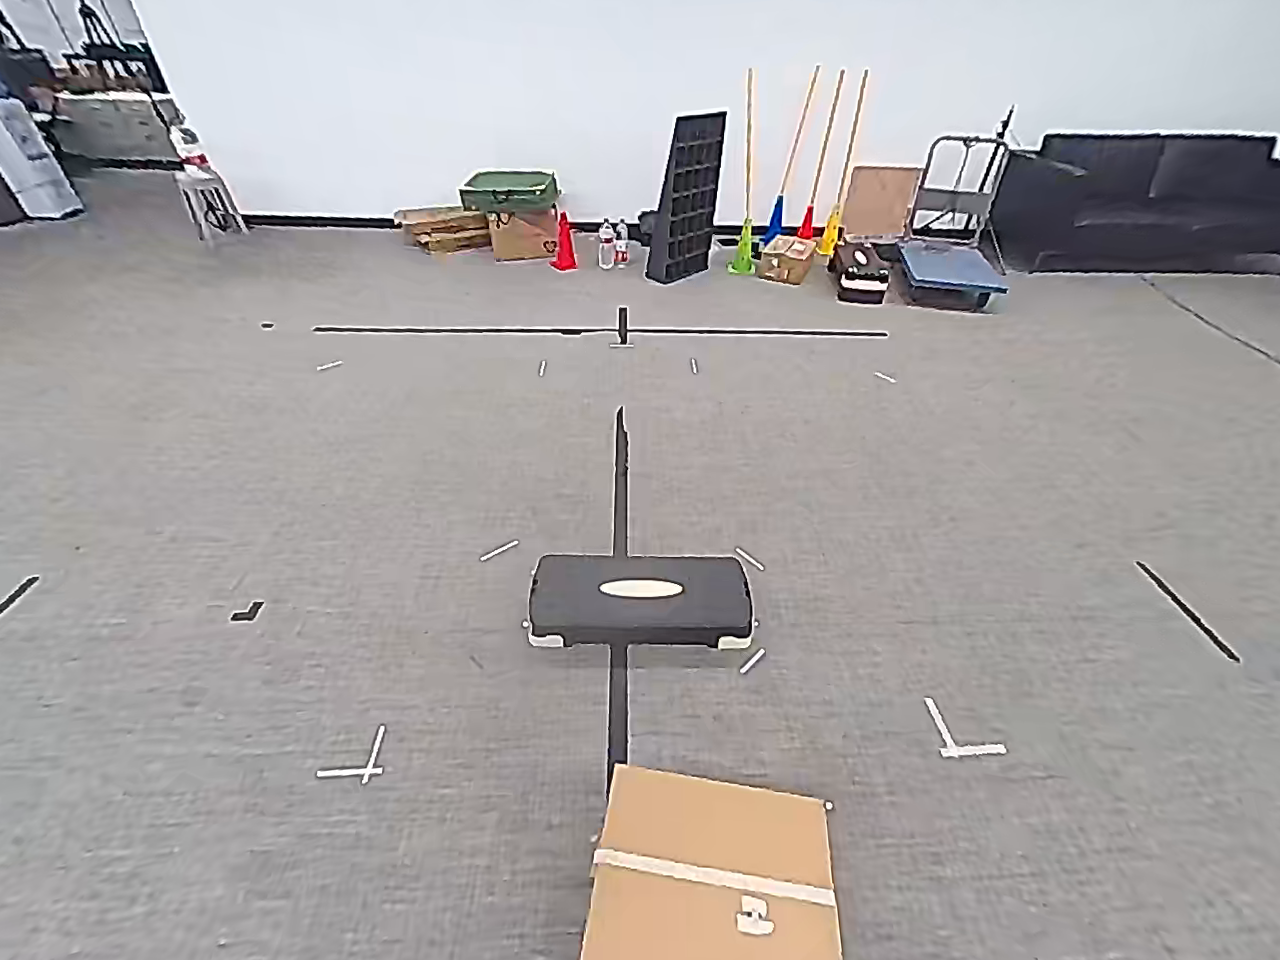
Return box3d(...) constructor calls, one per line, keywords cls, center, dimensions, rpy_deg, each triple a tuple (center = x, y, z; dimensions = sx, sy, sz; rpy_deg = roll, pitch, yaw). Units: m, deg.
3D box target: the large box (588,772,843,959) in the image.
box3d(cls="large box", center=(0.123, 0.796, 1.009), dimensions=(0.408, 0.320, 0.320), rpy_deg=(7, 40, 5))
